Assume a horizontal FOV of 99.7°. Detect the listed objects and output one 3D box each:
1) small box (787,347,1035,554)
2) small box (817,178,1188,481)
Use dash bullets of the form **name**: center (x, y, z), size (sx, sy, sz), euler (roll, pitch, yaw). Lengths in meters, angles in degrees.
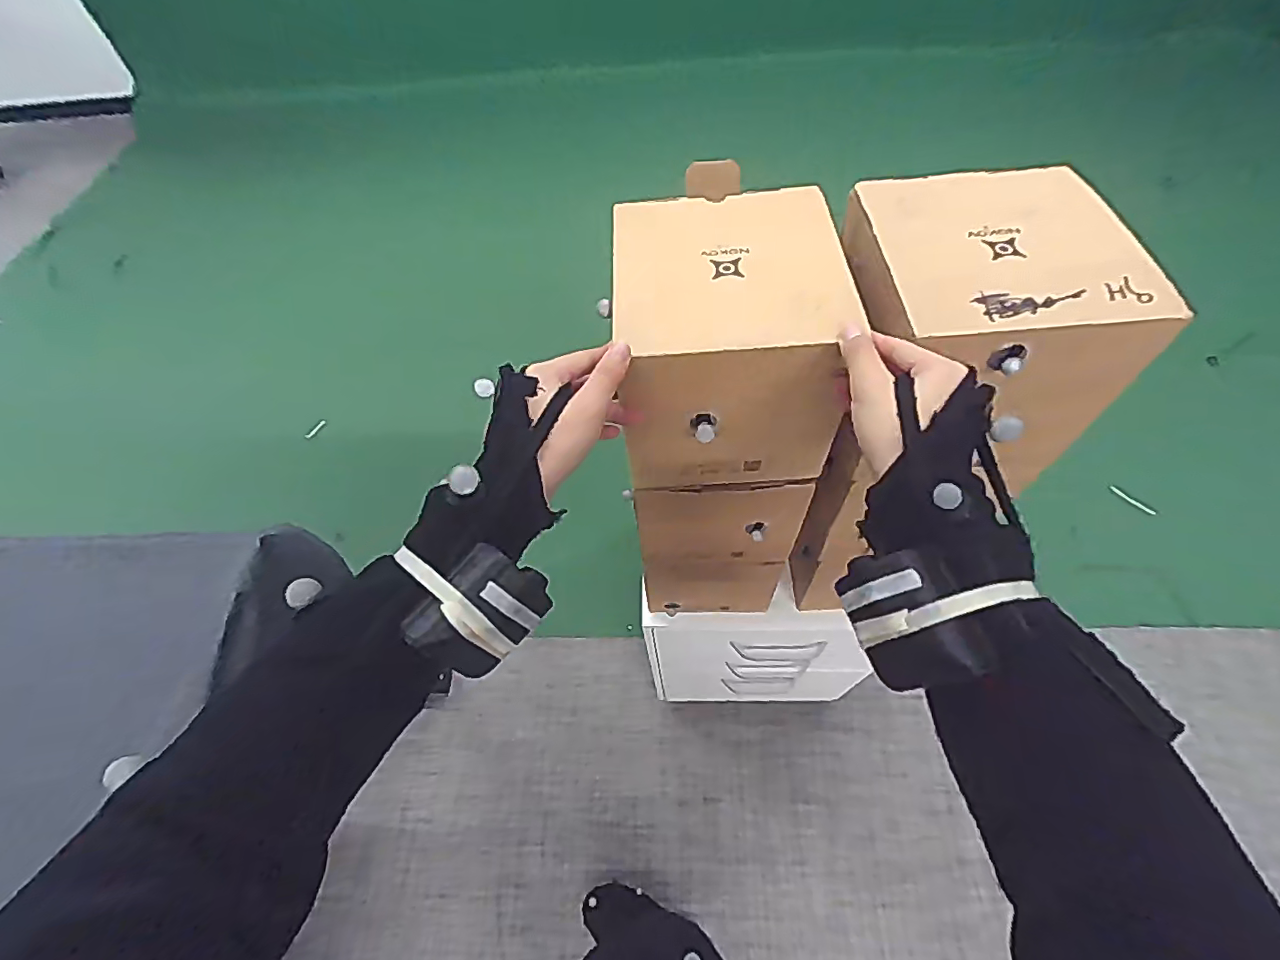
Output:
- **small box**: center (0.266, -0.029, 0.582), size (0.168, 0.176, 0.179), euler (-4, 57, 1)
- **small box**: center (0.256, -0.117, 0.444), size (0.168, 0.176, 0.179), euler (-3, 56, 3)
